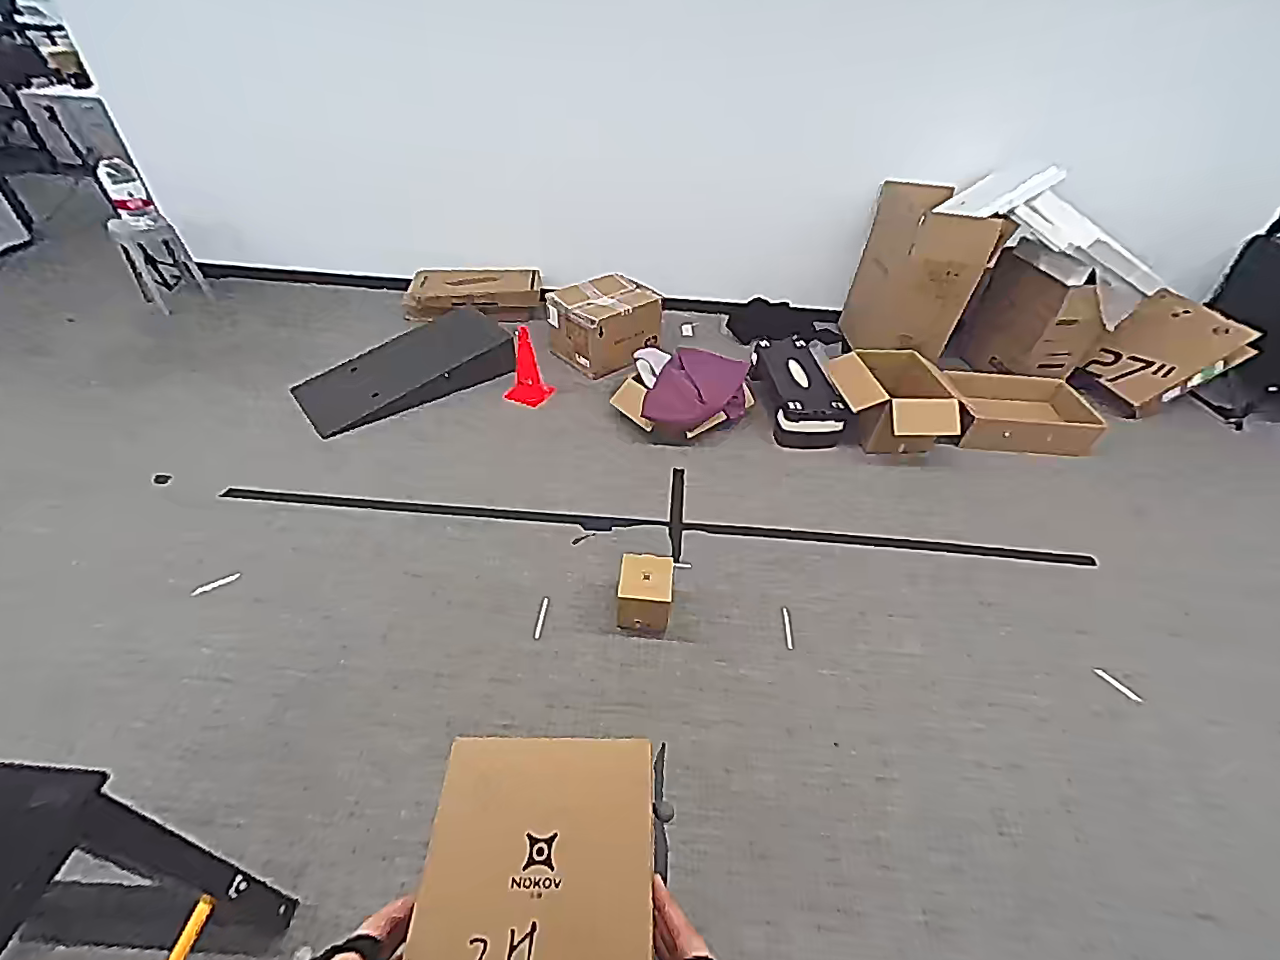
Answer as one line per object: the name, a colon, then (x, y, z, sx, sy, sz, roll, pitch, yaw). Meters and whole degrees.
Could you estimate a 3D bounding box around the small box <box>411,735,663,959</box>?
small box: (-0.065, 0.328, 0.445, 0.168, 0.176, 0.179, -1, 48, 2)

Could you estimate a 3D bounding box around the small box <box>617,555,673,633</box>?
small box: (0.016, 0.367, 1.741, 0.168, 0.176, 0.179, 4, 43, 2)
